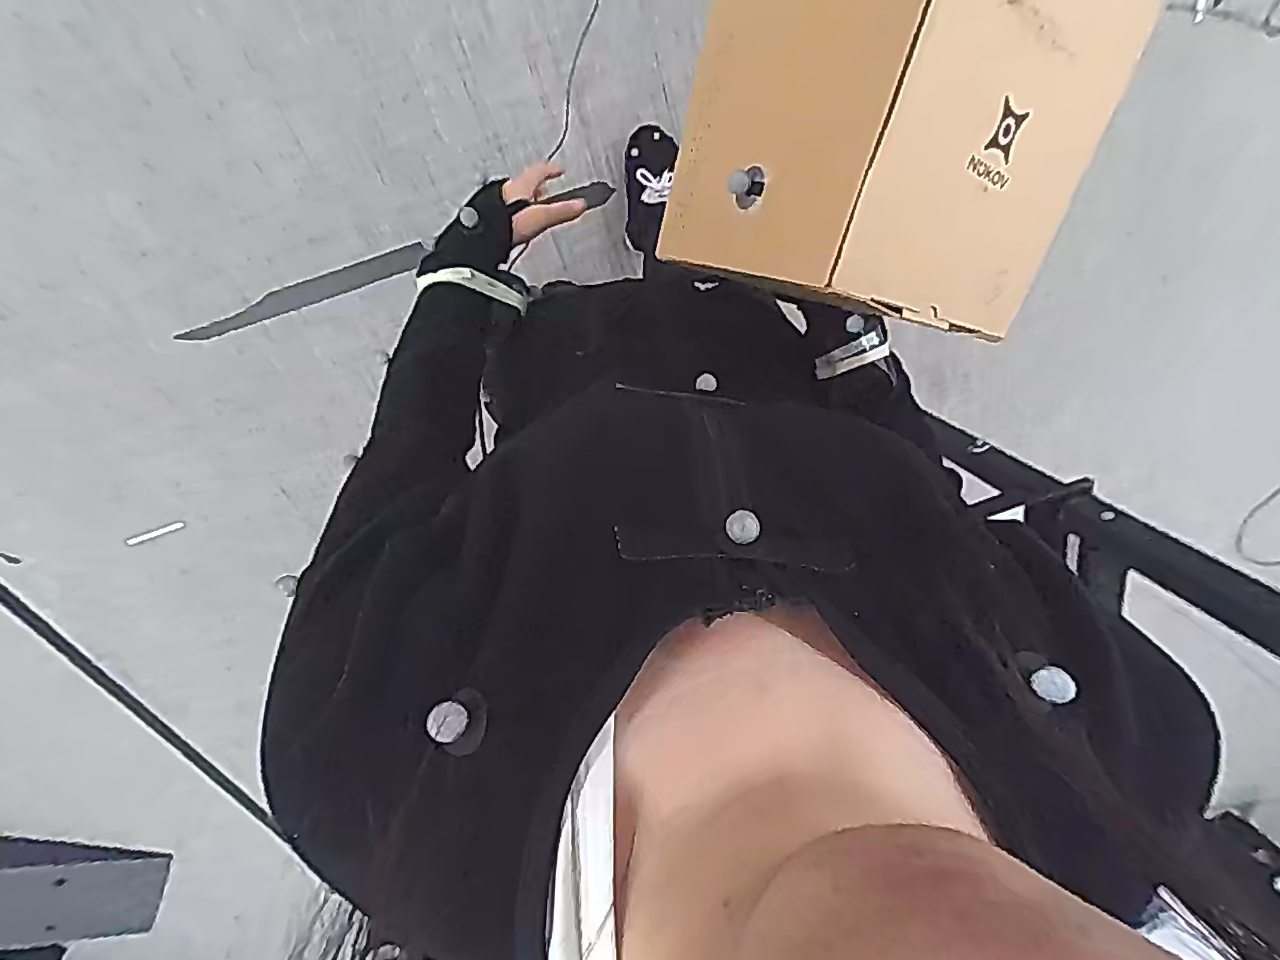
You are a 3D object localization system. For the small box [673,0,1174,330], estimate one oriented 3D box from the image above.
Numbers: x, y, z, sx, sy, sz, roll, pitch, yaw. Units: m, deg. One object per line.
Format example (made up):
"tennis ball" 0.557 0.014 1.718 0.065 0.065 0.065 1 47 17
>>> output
"small box" 0.140 -0.203 0.318 0.168 0.176 0.179 0 114 -32
